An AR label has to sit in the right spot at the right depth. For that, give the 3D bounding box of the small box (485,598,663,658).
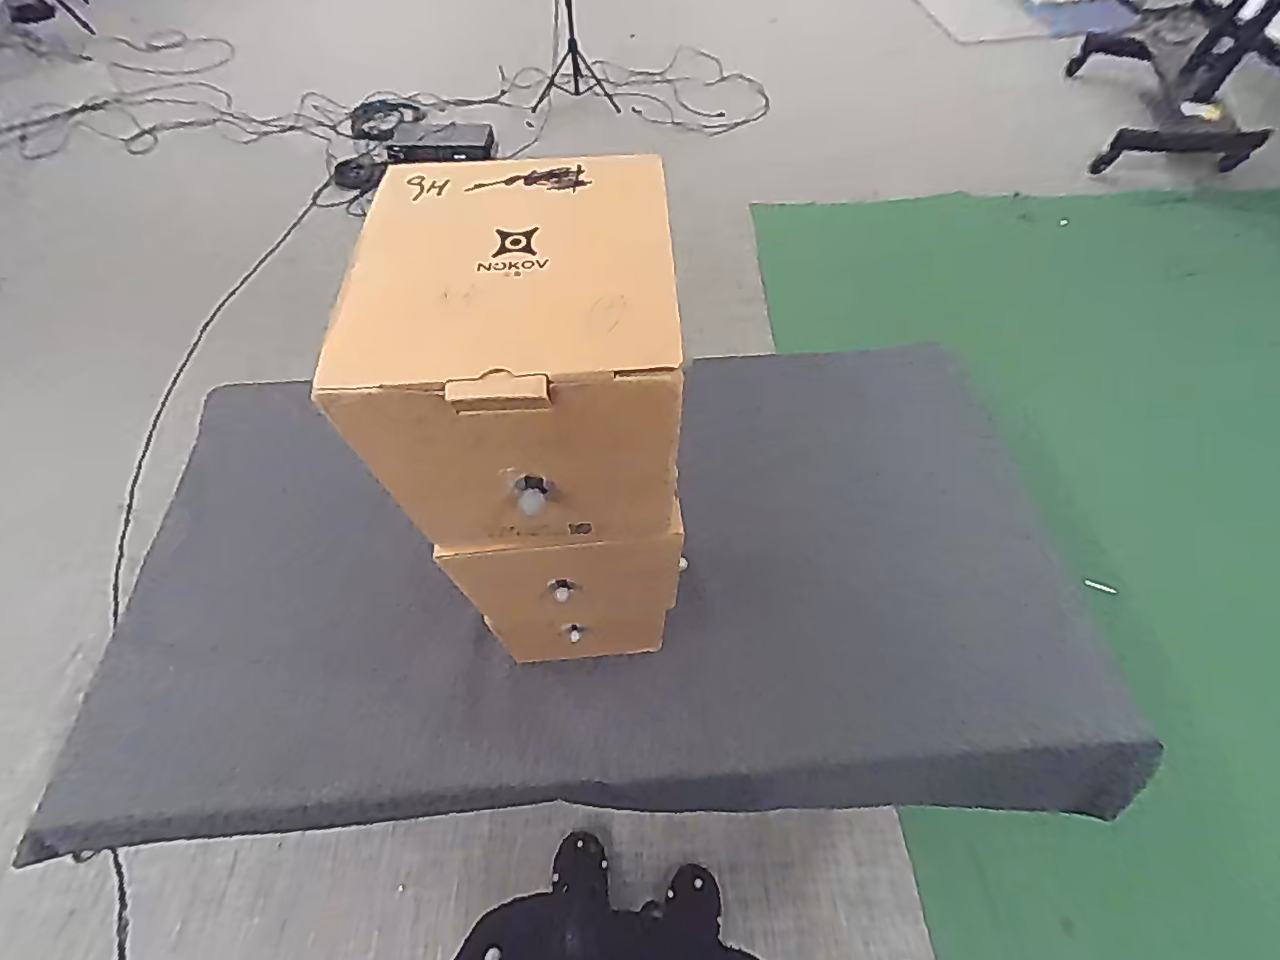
[{"bbox_3d":[-0.068,0.102,0.629,0.179,0.176,0.168,-4,59,-3],"label":"small box"}]

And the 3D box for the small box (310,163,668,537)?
[{"bbox_3d":[-0.067,-0.069,0.350,0.168,0.176,0.179,-2,60,0],"label":"small box"}]

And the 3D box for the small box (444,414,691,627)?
[{"bbox_3d":[-0.061,0.022,0.485,0.179,0.176,0.168,-7,60,-4],"label":"small box"}]
